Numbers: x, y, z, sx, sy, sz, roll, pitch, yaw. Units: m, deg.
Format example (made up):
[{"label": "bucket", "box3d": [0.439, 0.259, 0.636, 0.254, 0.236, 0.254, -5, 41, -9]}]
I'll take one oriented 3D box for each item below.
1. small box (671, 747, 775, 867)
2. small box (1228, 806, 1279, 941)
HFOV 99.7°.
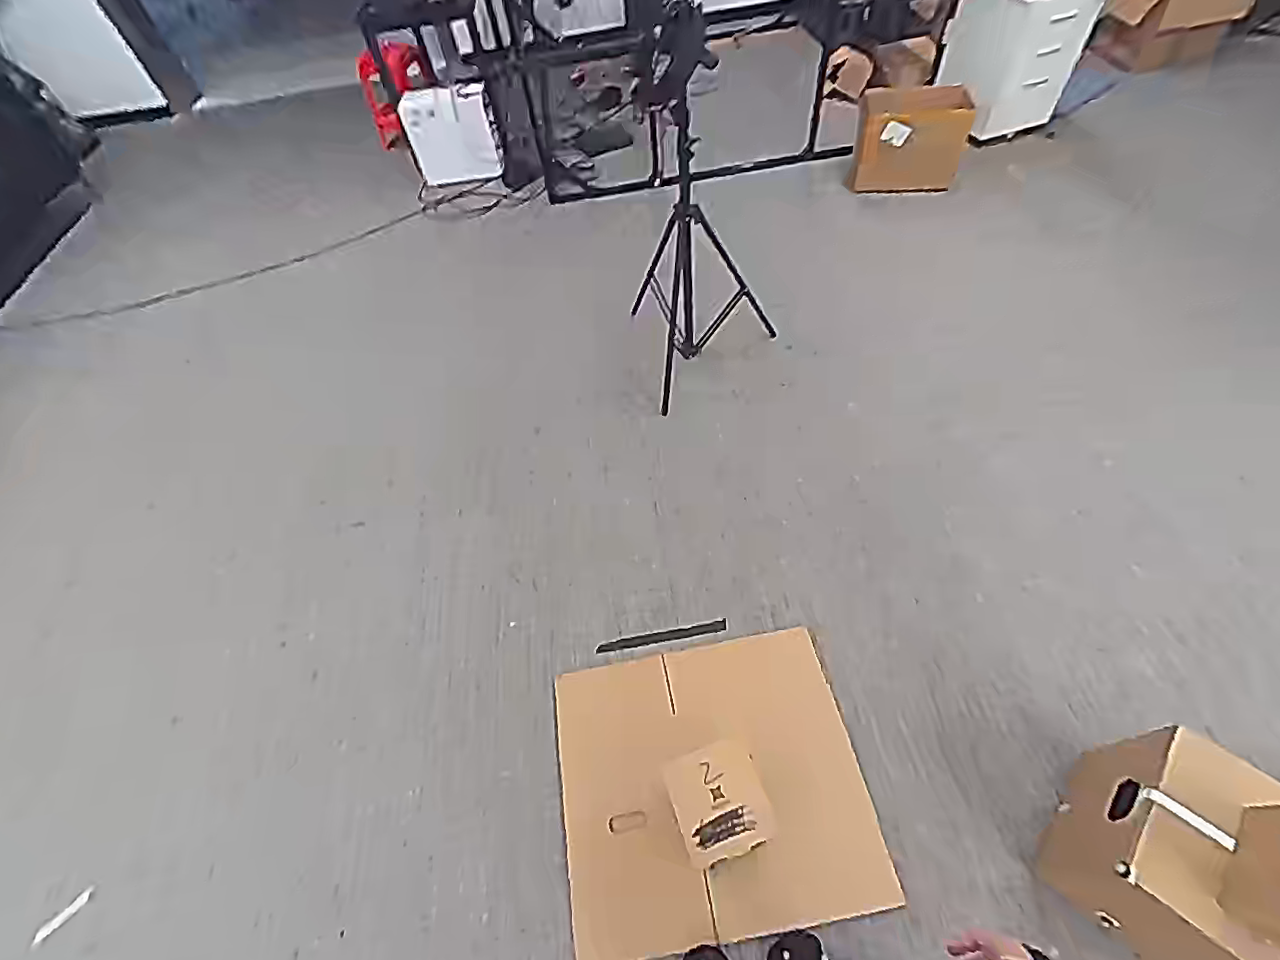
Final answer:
[{"label": "small box", "box3d": [0.175, 0.708, 1.168, 0.168, 0.176, 0.179, -19, 55, -4]}, {"label": "small box", "box3d": [1.020, 0.597, 0.777, 0.168, 0.176, 0.179, 33, 65, 26]}]
